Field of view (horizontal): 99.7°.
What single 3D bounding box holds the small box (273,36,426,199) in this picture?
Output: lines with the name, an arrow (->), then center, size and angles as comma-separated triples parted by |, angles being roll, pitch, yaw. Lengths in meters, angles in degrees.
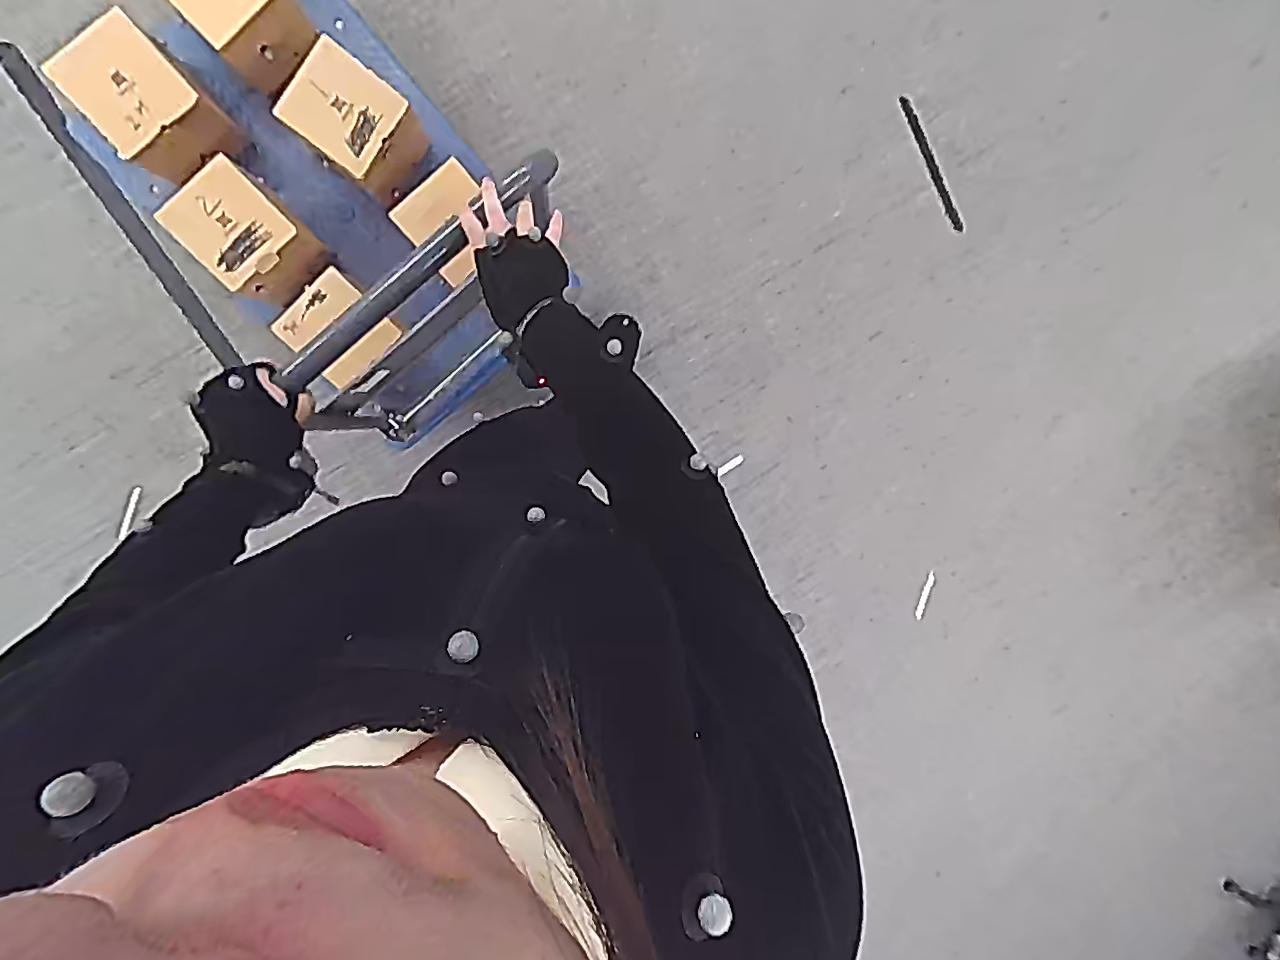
small box -> -0.540, -0.674, 1.037 | 0.179, 0.176, 0.168 | 35, 93, -13

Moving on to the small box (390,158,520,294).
small box -> -0.361, -0.499, 1.098 | 0.168, 0.176, 0.179 | -42, 103, -1

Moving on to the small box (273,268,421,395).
small box -> -0.578, -0.293, 1.097 | 0.179, 0.176, 0.168 | 44, 90, -14

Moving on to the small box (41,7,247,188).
small box -> -0.878, -0.674, 0.980 | 0.168, 0.176, 0.179 | -41, 104, 0

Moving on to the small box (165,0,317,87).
small box -> -0.732, -0.858, 0.973 | 0.168, 0.176, 0.179 | -45, 104, 1
